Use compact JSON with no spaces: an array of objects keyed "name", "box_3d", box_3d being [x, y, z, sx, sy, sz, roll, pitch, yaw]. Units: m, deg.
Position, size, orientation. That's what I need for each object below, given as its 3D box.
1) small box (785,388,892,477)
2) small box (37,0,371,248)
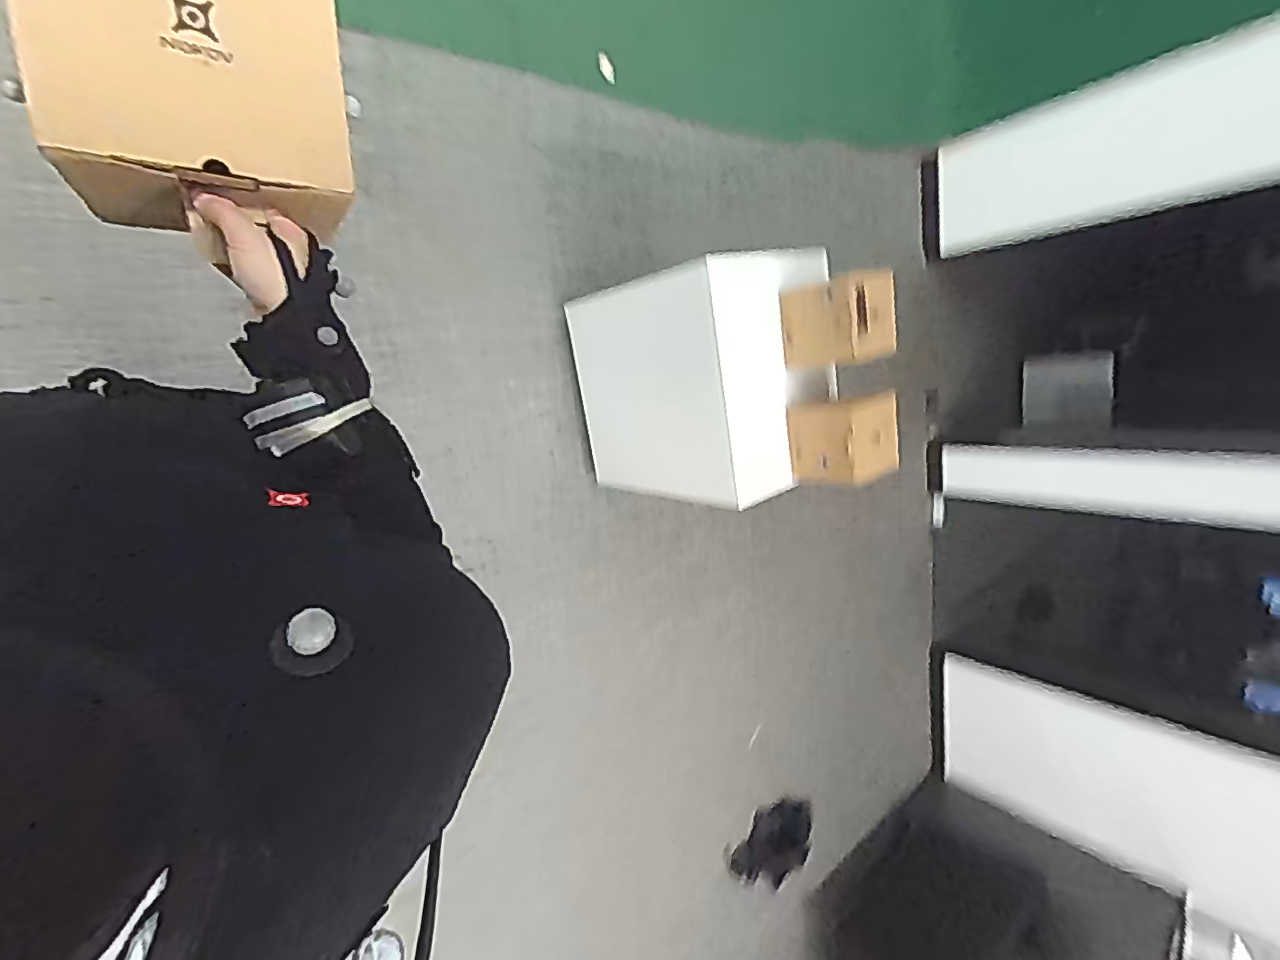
[{"name":"small box","box_3d":[0.444,-0.111,1.228,0.179,0.176,0.168,-20,108,-35]},{"name":"small box","box_3d":[-0.316,-0.293,0.407,0.168,0.176,0.179,-9,103,-35]}]
